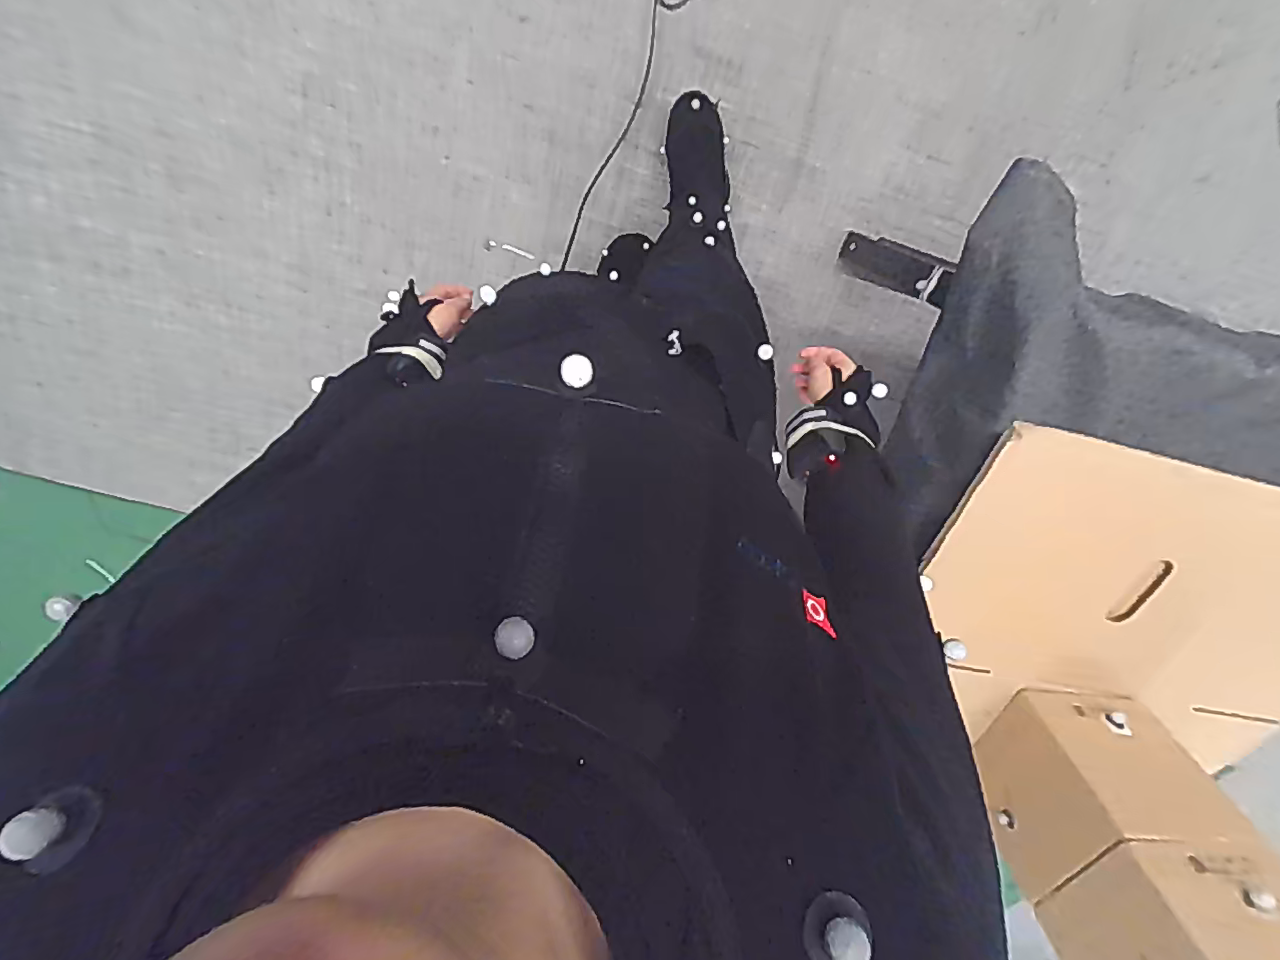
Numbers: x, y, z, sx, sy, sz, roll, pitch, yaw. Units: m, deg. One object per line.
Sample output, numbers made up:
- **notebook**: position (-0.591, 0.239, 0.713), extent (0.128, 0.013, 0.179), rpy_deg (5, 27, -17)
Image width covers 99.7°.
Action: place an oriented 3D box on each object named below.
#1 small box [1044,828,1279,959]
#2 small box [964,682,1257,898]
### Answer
- **small box**: position (0.541, 0.464, 0.516), extent (0.168, 0.176, 0.179), rpy_deg (5, 122, -6)
- **small box**: position (0.534, 0.372, 0.652), extent (0.168, 0.176, 0.179), rpy_deg (5, 122, -6)
